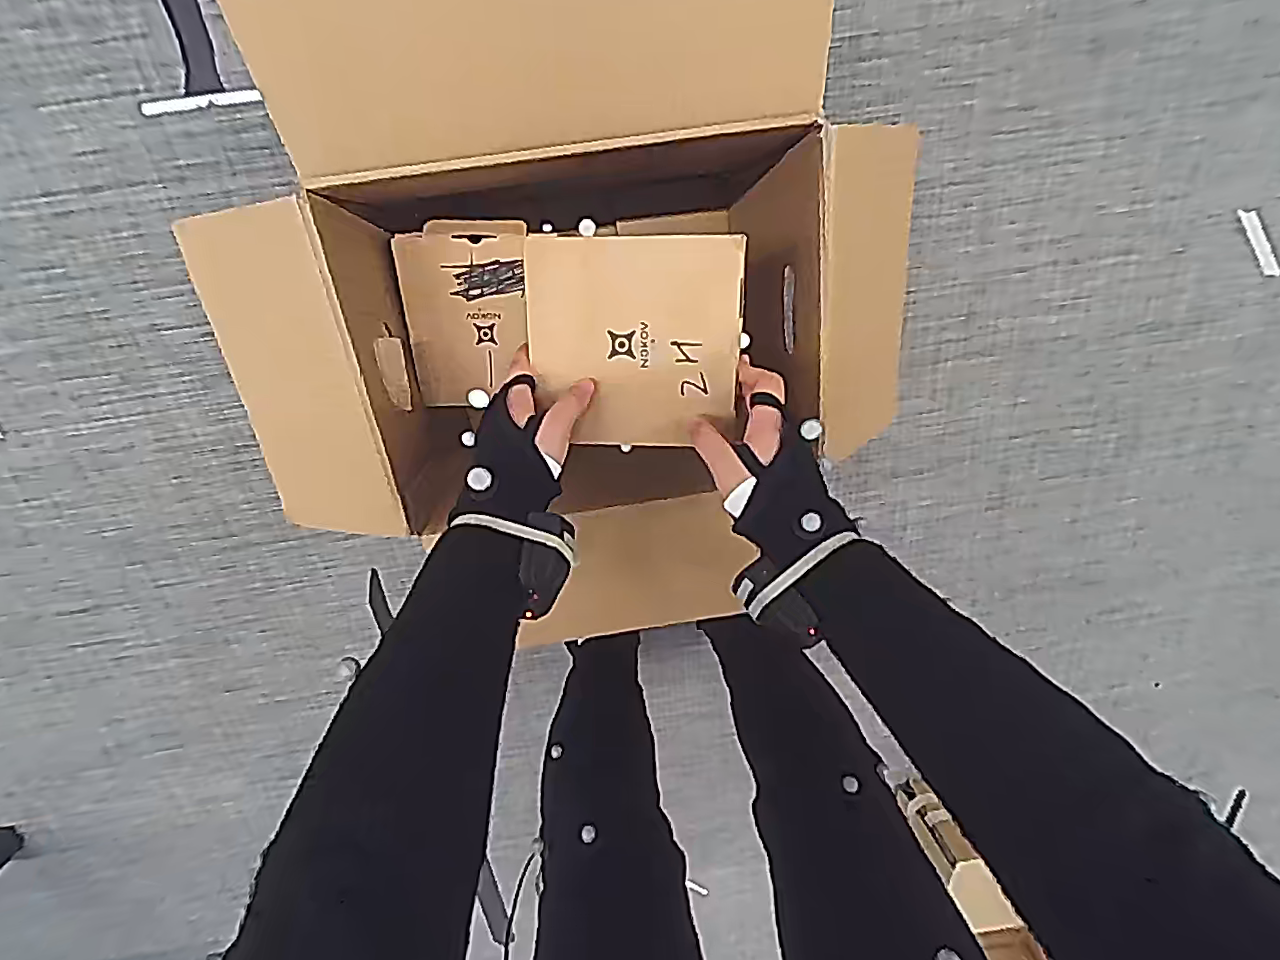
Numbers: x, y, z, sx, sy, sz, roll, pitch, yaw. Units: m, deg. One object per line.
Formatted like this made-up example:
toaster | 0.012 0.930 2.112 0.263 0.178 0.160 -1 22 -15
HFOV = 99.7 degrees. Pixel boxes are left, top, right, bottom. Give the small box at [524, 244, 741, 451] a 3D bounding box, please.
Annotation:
small box | 0.000 -0.130 0.525 0.179 0.176 0.168 2 107 6
